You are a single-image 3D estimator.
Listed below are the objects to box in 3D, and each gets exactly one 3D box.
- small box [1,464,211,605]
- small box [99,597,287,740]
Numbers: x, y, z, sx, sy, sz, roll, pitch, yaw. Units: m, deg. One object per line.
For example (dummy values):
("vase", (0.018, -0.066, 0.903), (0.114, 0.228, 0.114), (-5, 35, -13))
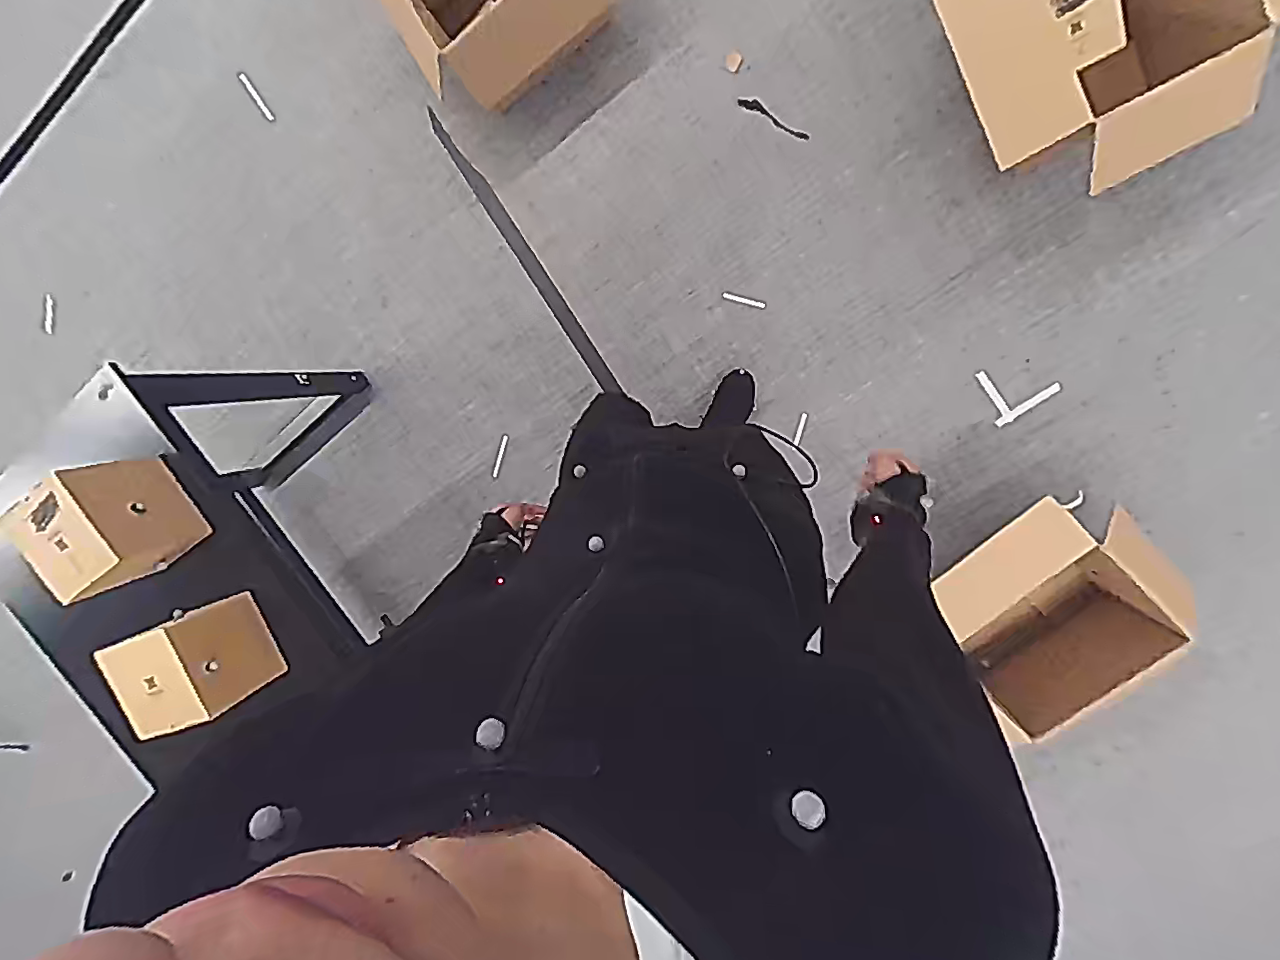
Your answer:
("small box", (-0.932, 0.085, 0.960), (0.168, 0.176, 0.179), (-31, 96, 14))
("small box", (-0.805, 0.333, 0.993), (0.168, 0.176, 0.179), (-20, 98, 13))
